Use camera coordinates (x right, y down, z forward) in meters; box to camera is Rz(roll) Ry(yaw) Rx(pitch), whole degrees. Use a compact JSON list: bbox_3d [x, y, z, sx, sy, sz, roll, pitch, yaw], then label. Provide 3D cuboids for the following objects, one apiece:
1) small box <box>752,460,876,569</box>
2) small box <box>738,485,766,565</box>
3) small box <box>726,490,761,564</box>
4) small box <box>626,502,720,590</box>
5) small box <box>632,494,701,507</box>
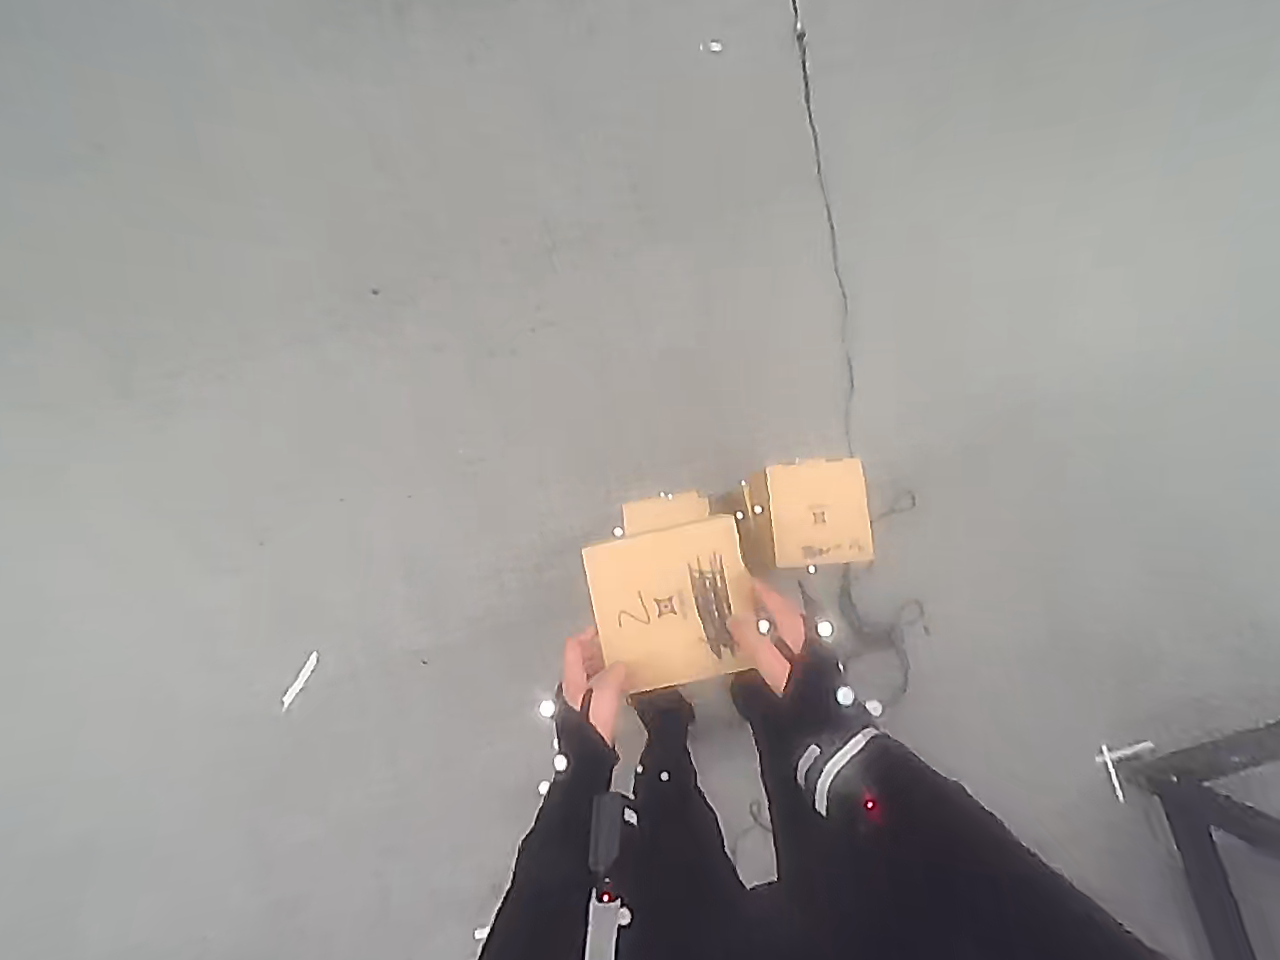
[{"bbox_3d":[0.308,0.069,0.990,0.168,0.176,0.179,-5,83,1],"label":"small box"},{"bbox_3d":[0.314,0.084,1.154,0.179,0.176,0.168,-12,84,1],"label":"small box"},{"bbox_3d":[0.316,0.101,1.315,0.168,0.176,0.179,-14,84,0],"label":"small box"},{"bbox_3d":[0.065,0.136,1.148,0.179,0.176,0.168,-5,84,1],"label":"small box"},{"bbox_3d":[0.072,0.138,1.313,0.168,0.176,0.179,-9,84,1],"label":"small box"}]
